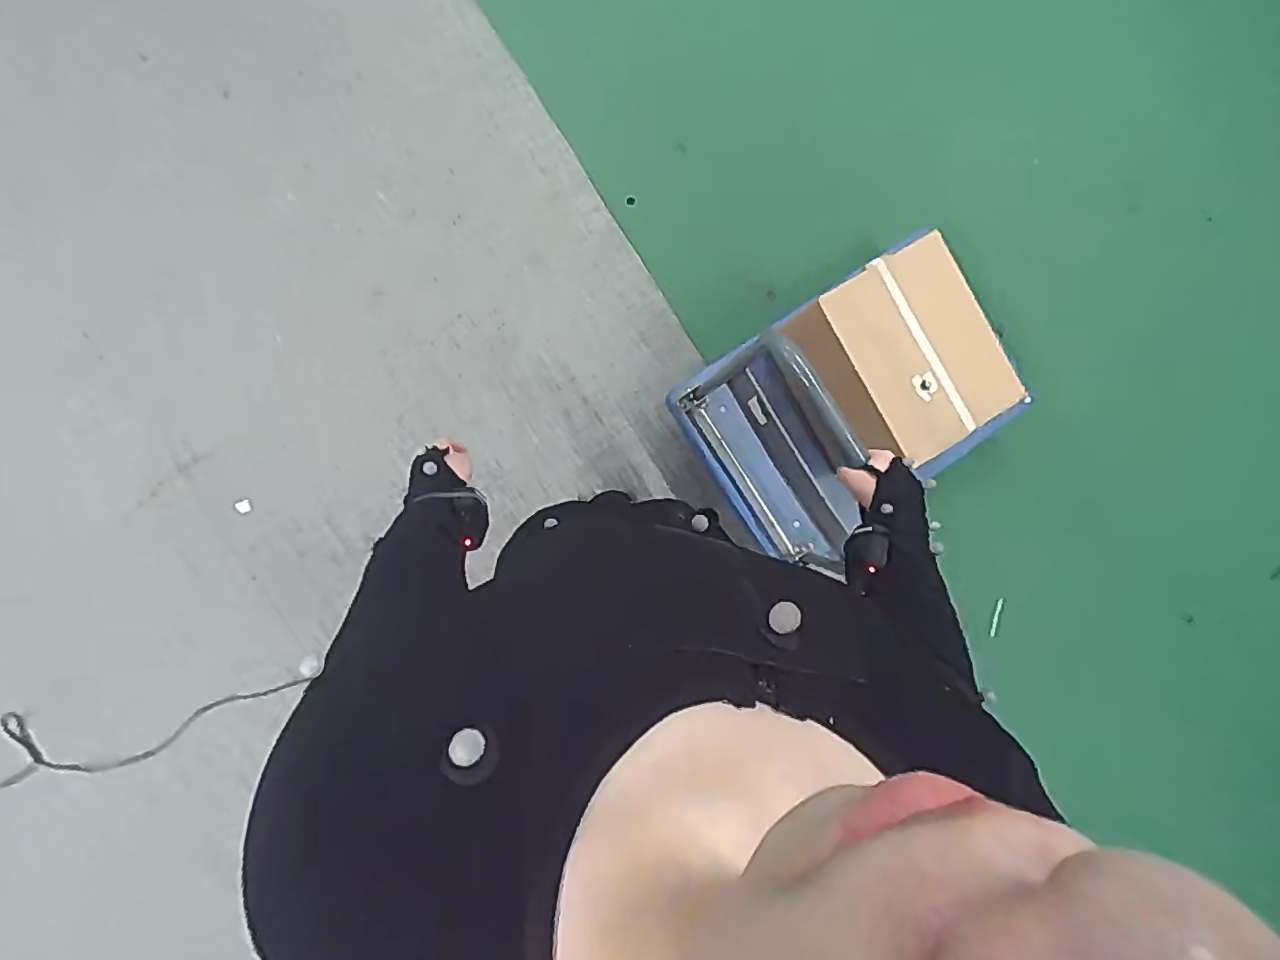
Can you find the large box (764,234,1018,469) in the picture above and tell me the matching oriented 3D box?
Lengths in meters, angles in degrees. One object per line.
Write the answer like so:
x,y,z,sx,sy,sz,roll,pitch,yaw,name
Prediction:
0.566,-0.276,1.282,0.320,0.320,0.408,-31,93,-7,large box
